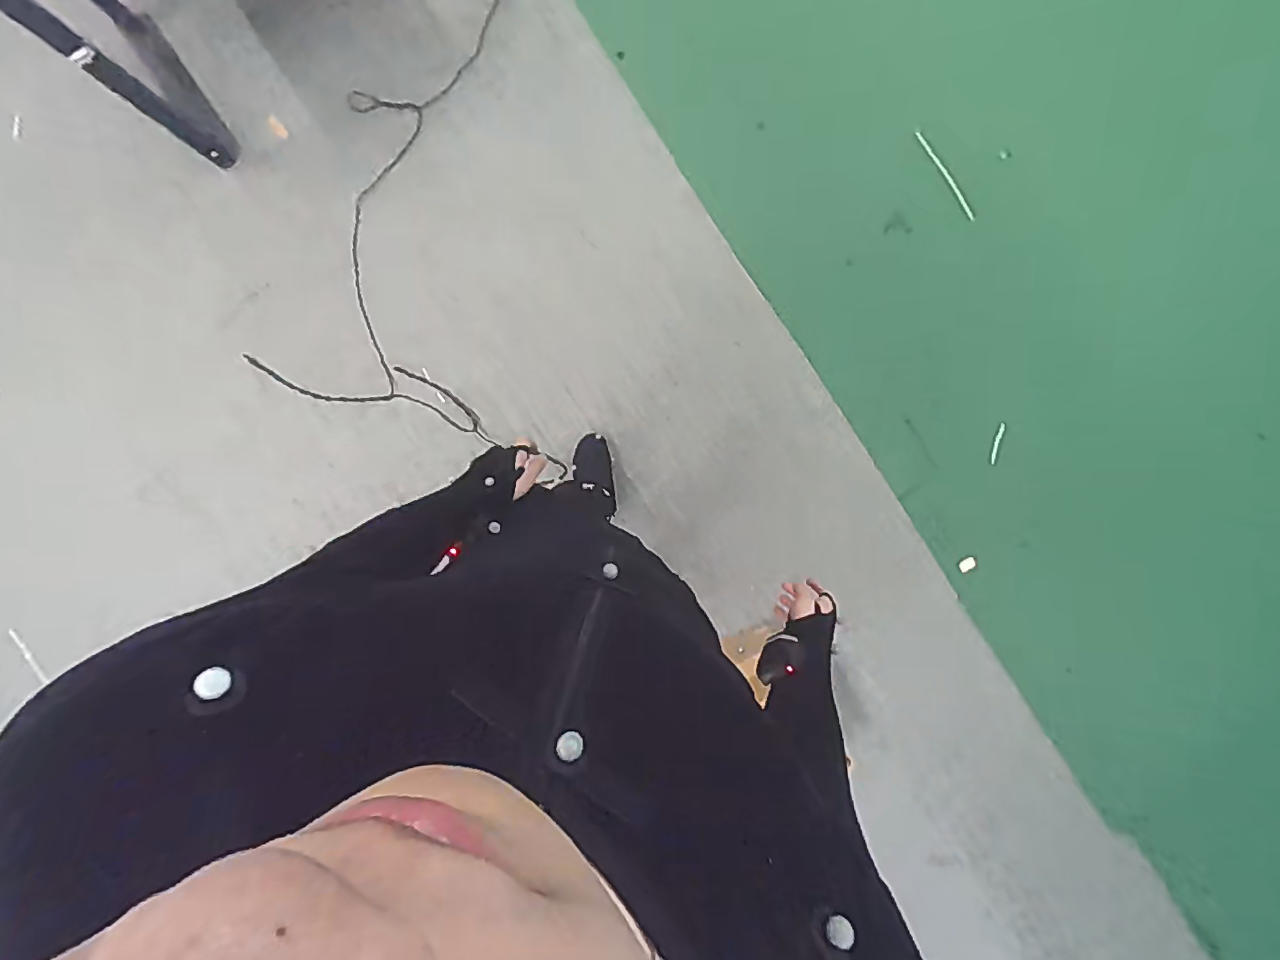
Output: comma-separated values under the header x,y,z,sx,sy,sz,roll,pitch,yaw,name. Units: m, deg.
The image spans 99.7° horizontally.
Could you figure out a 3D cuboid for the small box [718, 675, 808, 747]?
x,y,z,sx,sy,sz,roll,pitch,yaw,name
0.330,0.672,1.494,0.179,0.176,0.168,-32,88,4,small box
